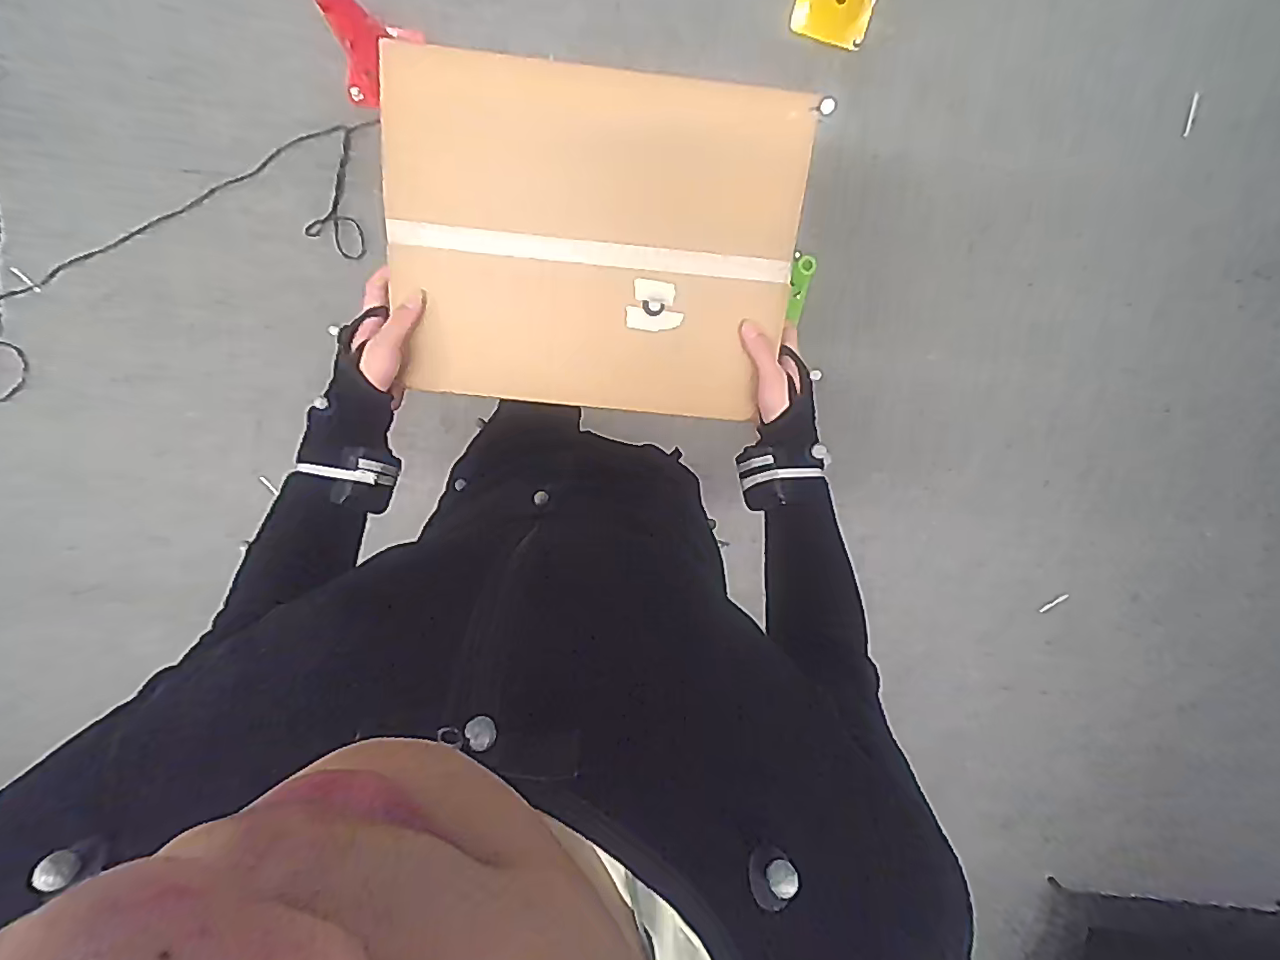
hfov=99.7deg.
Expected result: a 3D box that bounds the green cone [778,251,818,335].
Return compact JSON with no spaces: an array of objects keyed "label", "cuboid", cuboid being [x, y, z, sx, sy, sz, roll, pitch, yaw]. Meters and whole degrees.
[{"label":"green cone","cuboid":[0.371,-0.502,1.361,0.200,0.368,0.202,12,98,-3]}]

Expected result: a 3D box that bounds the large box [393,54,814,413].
[{"label":"large box","cuboid":[-0.049,-0.279,0.692,0.408,0.320,0.320,5,109,-3]}]
